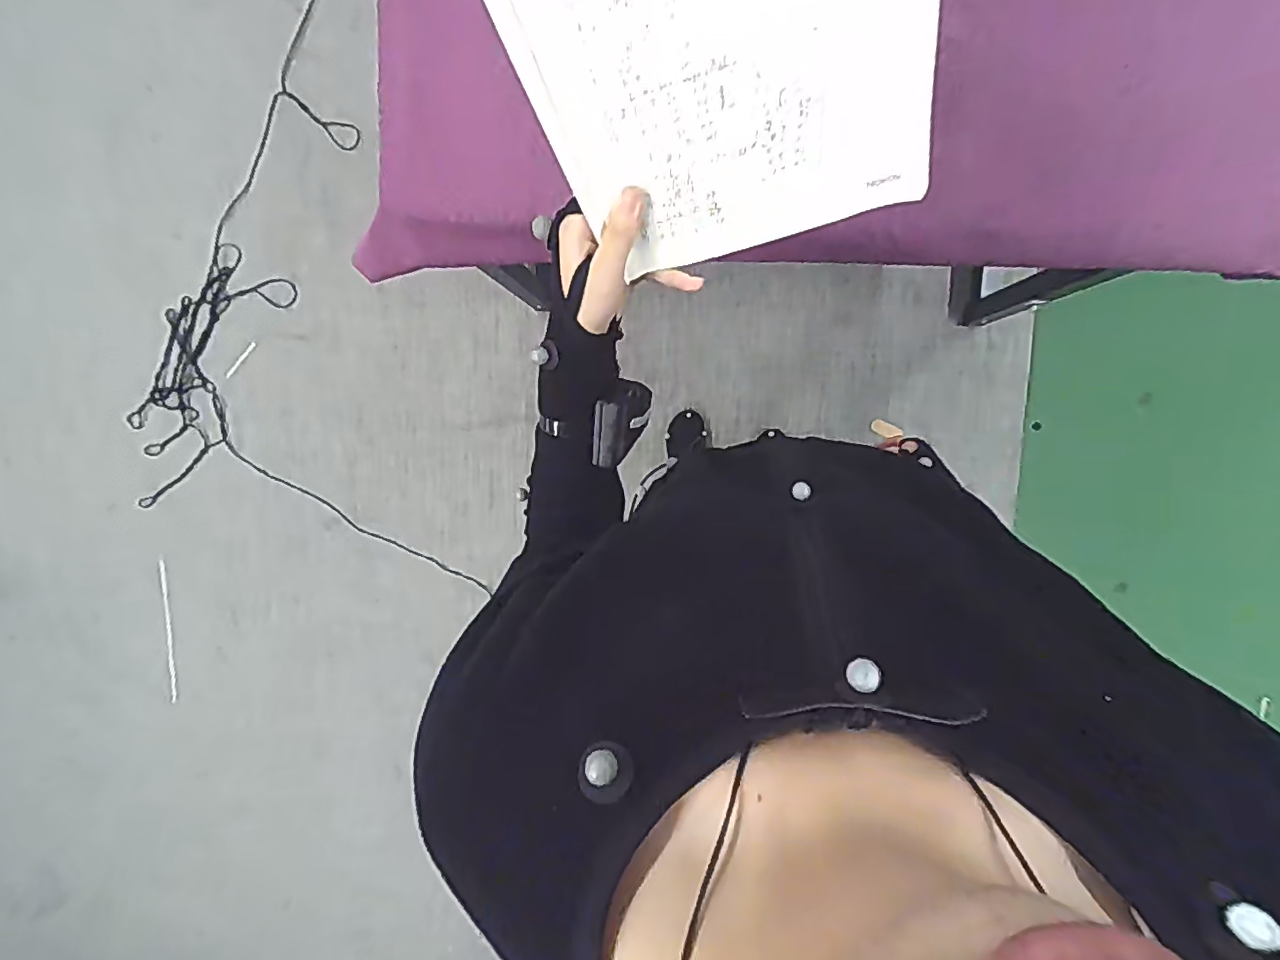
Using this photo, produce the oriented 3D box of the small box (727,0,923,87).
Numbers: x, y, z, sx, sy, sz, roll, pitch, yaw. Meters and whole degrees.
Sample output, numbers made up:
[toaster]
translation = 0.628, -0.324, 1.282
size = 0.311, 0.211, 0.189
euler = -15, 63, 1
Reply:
[small box]
translation = 0.168, -0.487, 0.480
size = 0.168, 0.176, 0.179
euler = 4, 94, 6
